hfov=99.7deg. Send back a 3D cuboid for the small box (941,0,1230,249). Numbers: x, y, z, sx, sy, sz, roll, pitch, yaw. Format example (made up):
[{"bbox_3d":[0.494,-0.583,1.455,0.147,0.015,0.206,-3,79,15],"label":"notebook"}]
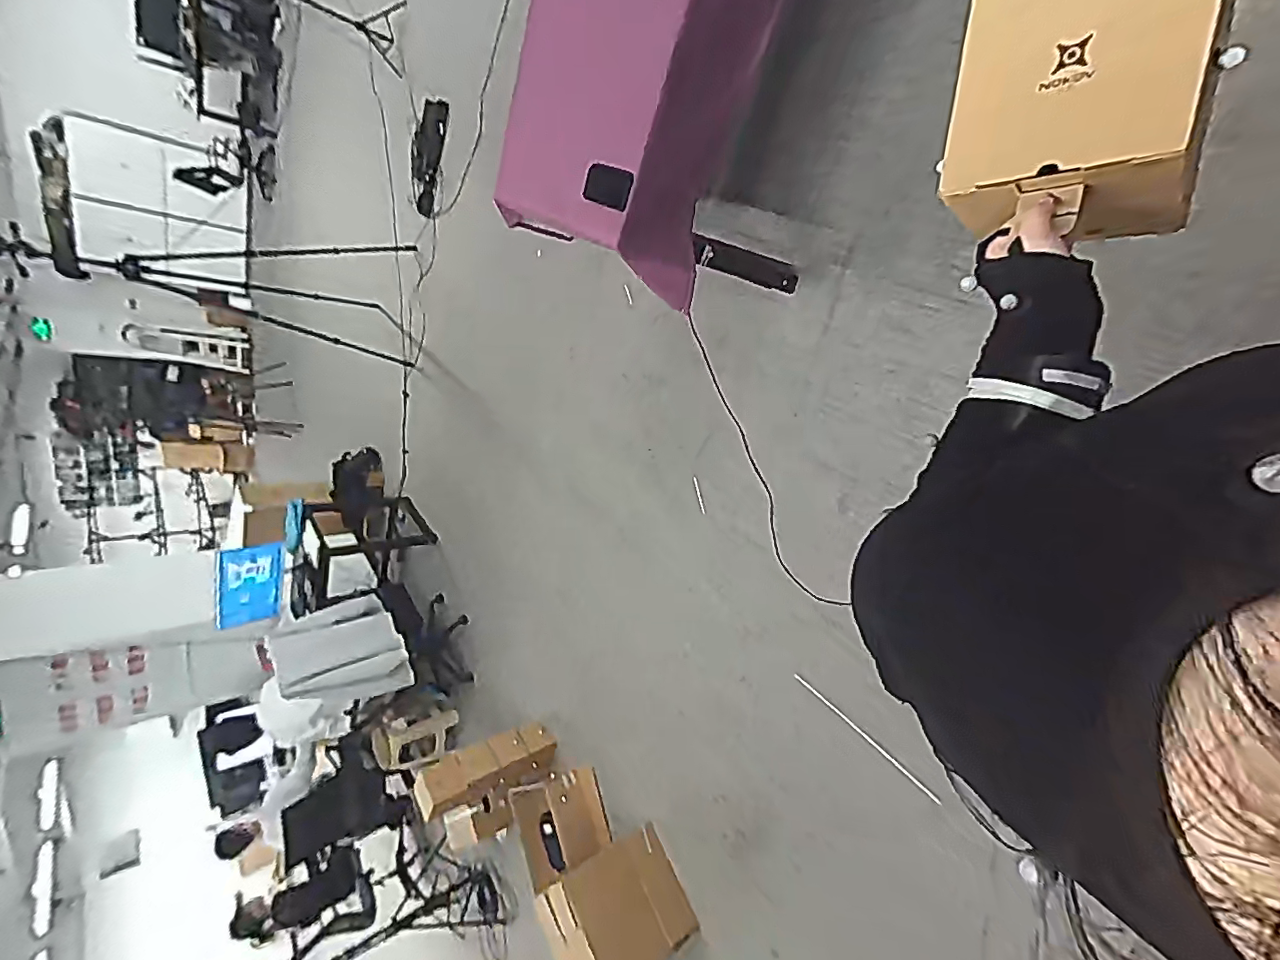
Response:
[{"bbox_3d":[0.398,-0.331,0.489,0.168,0.176,0.179,14,100,42],"label":"small box"}]
